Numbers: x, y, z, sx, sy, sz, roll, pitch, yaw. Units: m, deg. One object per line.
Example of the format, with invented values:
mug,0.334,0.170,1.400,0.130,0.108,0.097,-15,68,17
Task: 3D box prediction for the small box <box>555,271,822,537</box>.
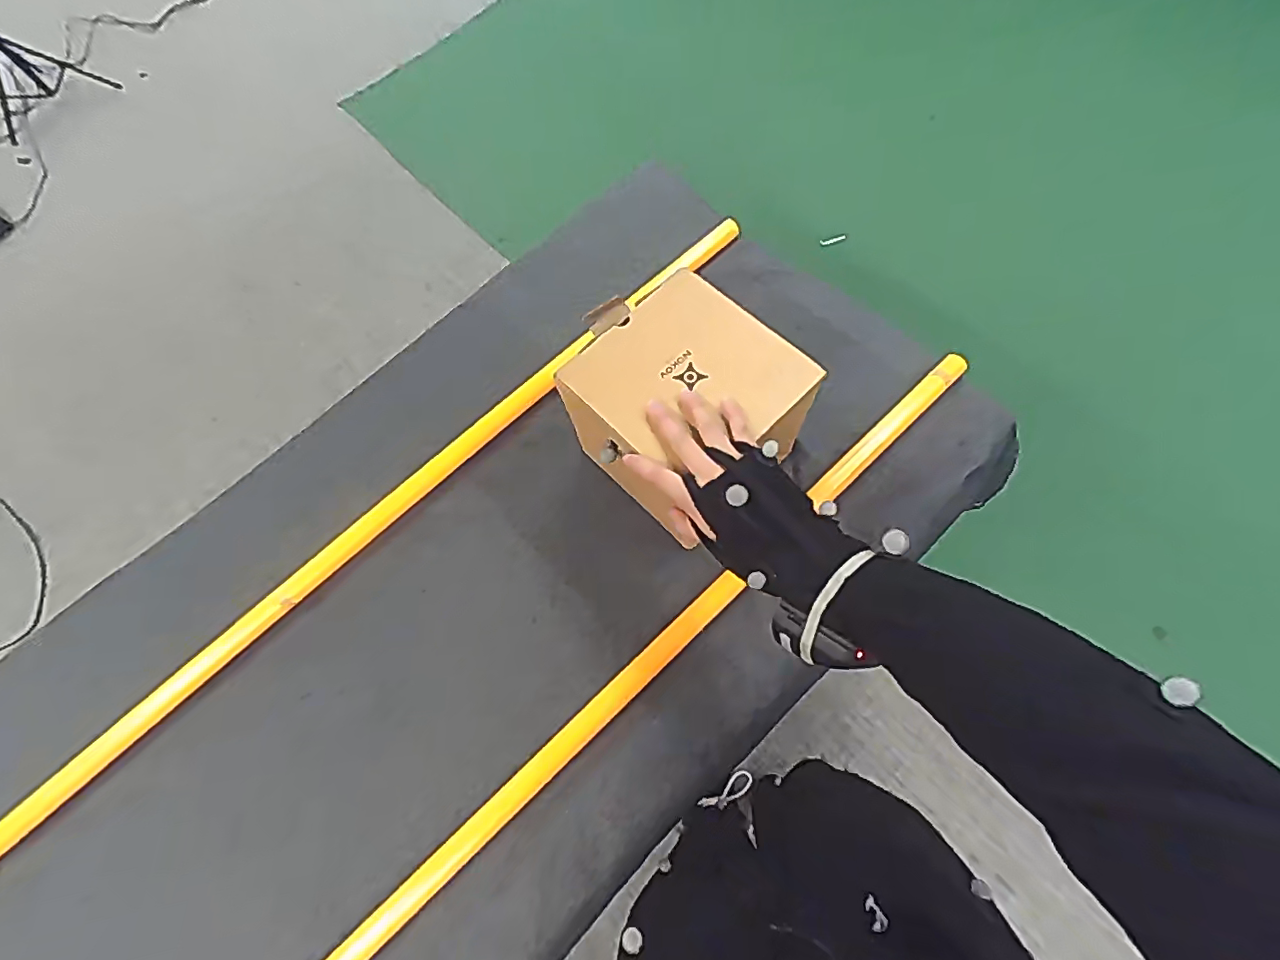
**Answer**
small box,0.048,-0.061,0.544,0.168,0.176,0.179,-43,70,-11
